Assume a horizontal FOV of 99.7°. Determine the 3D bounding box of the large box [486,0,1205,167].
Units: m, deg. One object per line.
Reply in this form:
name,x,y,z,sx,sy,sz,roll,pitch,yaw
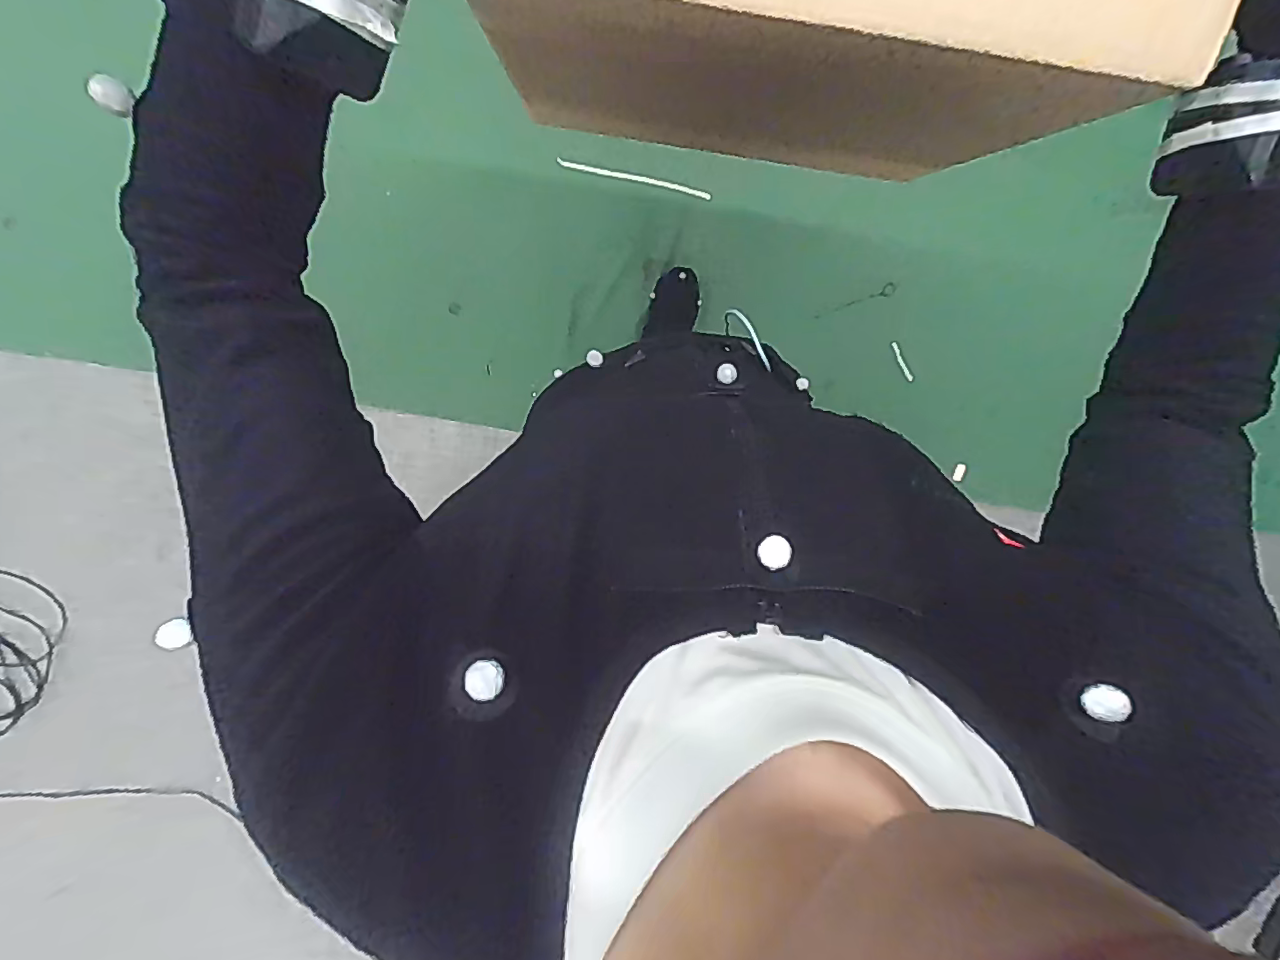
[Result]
large box,0.113,-0.439,0.376,0.408,0.320,0.320,5,111,-4
